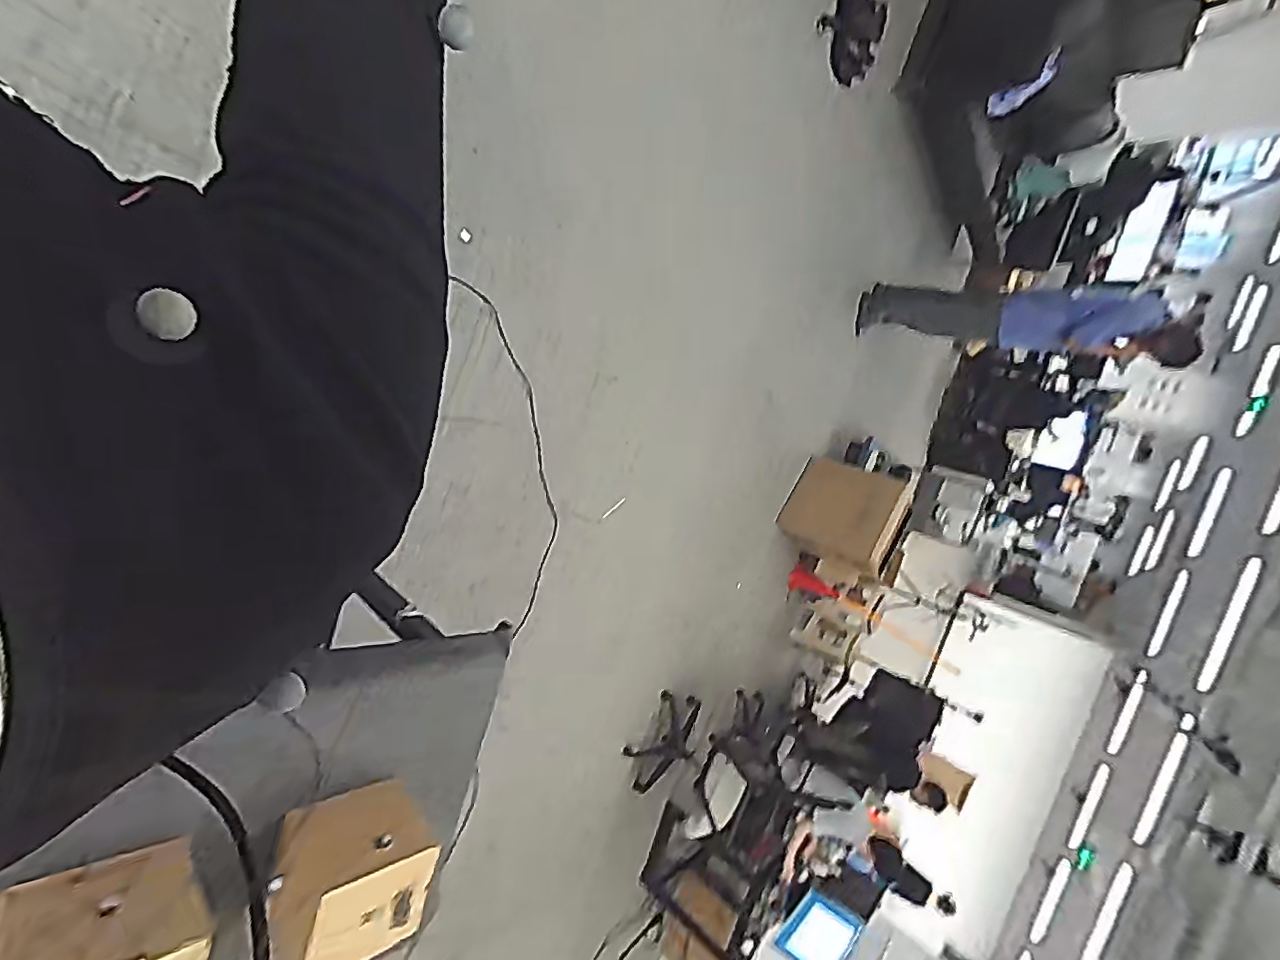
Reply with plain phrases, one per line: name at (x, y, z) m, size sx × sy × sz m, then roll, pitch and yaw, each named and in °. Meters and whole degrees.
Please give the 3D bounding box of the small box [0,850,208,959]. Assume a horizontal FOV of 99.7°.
small box at (-0.635, 0.571, 0.619) m, size 0.168 × 0.176 × 0.179 m, roll 13°, pitch 96°, yaw -52°

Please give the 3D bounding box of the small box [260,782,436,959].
small box at (-0.458, 0.615, 0.848) m, size 0.179 × 0.176 × 0.168 m, roll 10°, pitch 99°, yaw -50°
